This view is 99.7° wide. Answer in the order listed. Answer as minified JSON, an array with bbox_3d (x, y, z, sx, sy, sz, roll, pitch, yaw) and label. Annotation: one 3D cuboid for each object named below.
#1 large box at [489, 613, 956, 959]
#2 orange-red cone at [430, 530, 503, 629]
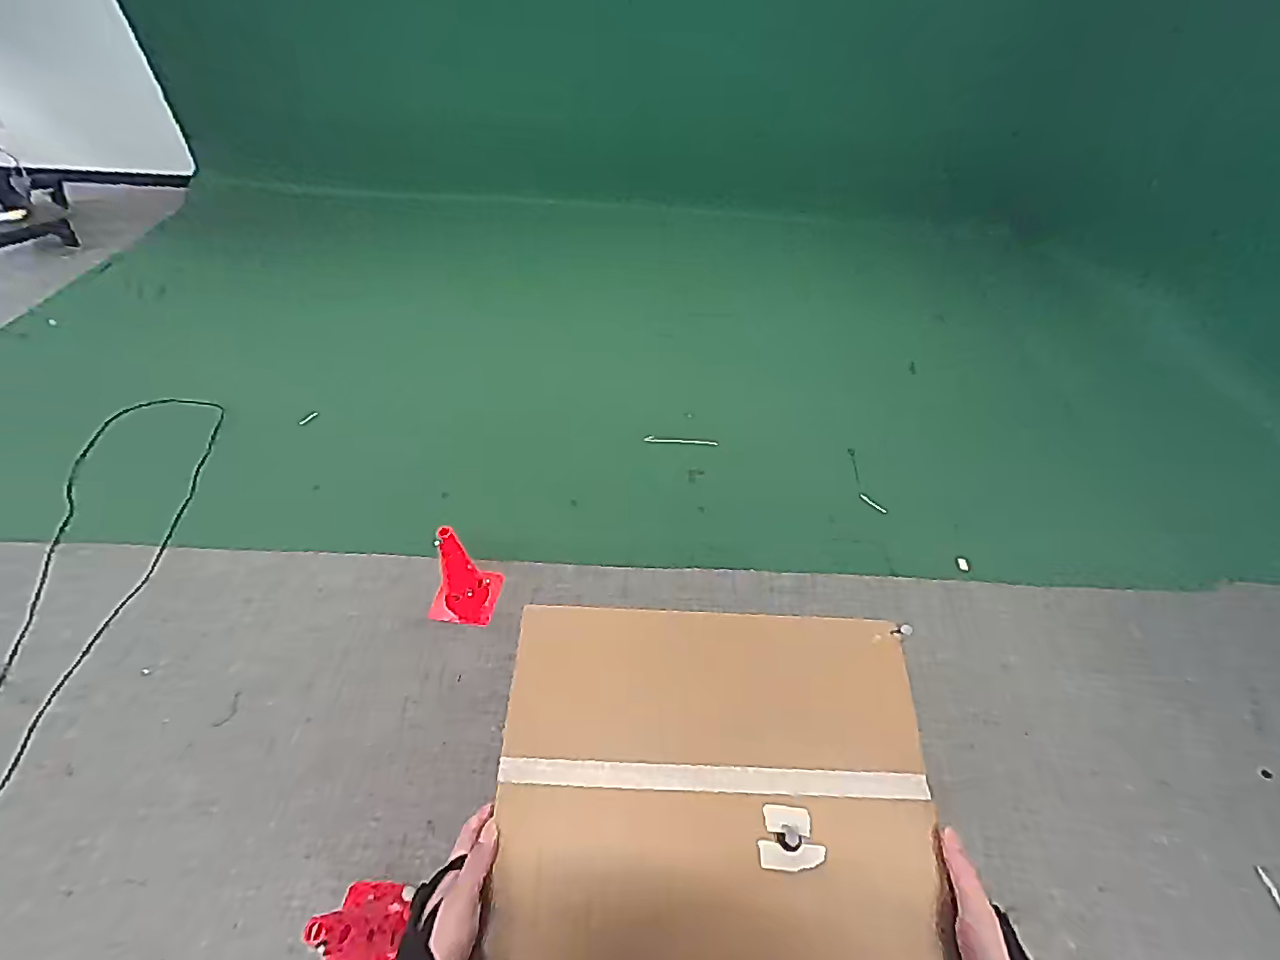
[{"bbox_3d":[0.068,0.356,0.650,0.408,0.320,0.320,2,63,0],"label":"large box"},{"bbox_3d":[-0.568,0.279,1.665,0.199,0.360,0.198,7,47,5],"label":"orange-red cone"}]
